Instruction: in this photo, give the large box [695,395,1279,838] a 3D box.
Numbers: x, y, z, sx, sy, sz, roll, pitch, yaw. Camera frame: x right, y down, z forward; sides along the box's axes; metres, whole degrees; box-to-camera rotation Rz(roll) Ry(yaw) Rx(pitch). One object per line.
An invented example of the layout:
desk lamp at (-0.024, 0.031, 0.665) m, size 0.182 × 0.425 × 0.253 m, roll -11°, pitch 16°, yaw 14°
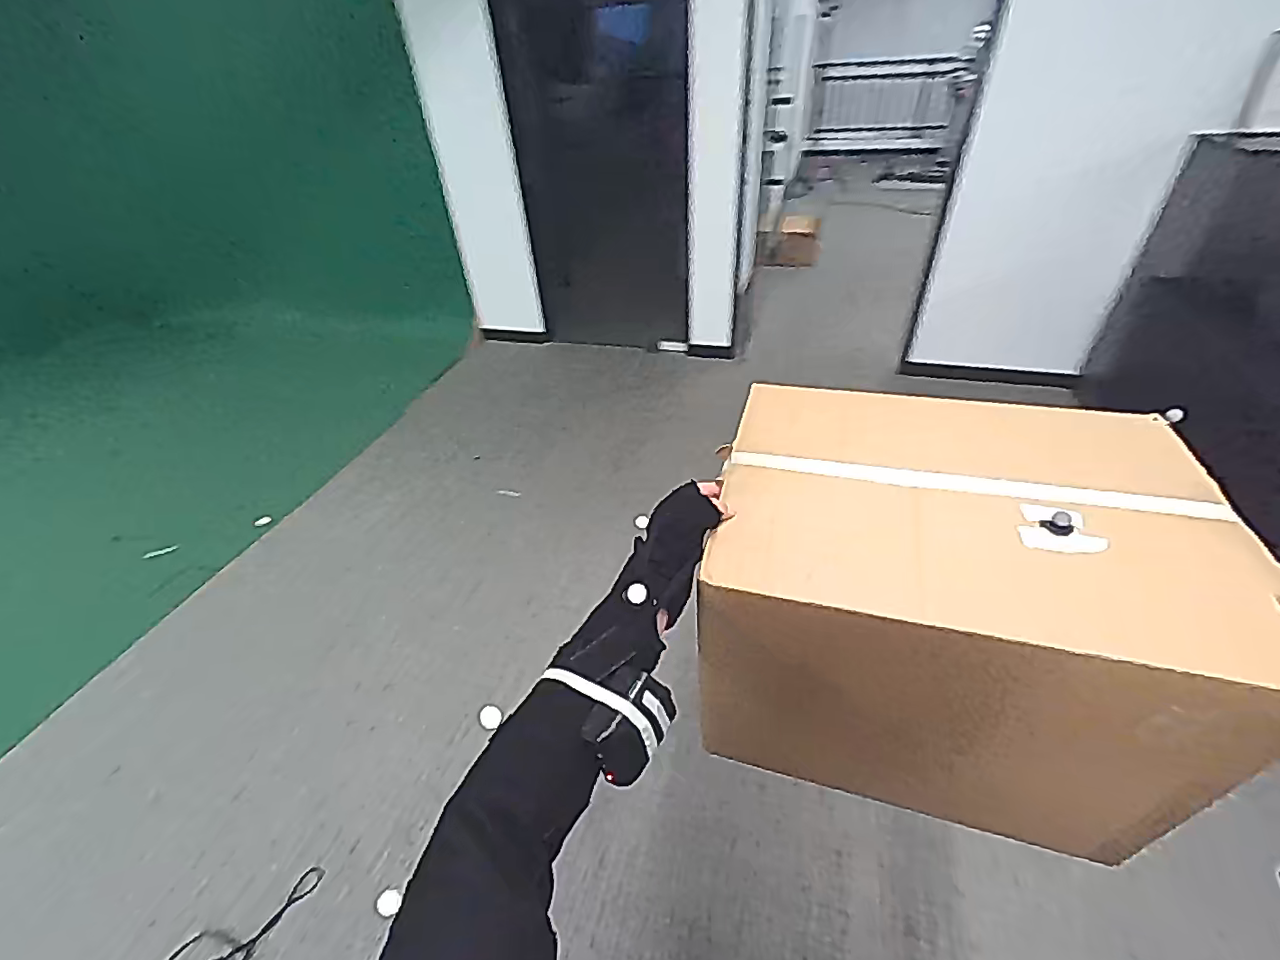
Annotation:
large box at (0.282, 0.127, 0.598) m, size 0.408 × 0.320 × 0.320 m, roll 7°, pitch 42°, yaw 14°
